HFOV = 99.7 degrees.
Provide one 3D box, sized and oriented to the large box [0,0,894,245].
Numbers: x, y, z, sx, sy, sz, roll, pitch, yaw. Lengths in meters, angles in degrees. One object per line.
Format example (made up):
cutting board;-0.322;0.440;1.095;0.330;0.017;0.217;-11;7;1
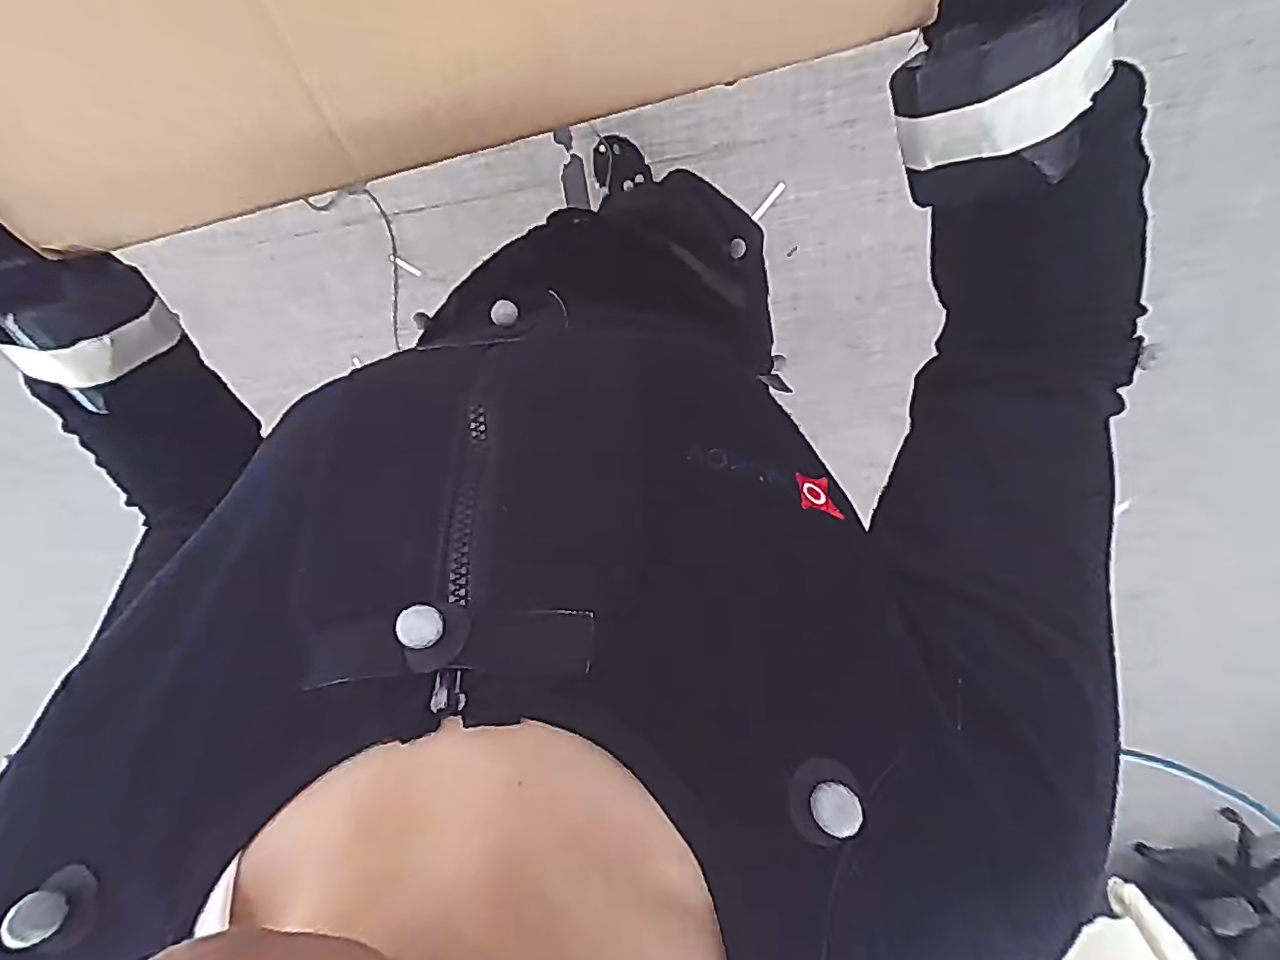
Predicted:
large box;-0.126;-0.358;0.217;0.408;0.320;0.320;-10;139;8
